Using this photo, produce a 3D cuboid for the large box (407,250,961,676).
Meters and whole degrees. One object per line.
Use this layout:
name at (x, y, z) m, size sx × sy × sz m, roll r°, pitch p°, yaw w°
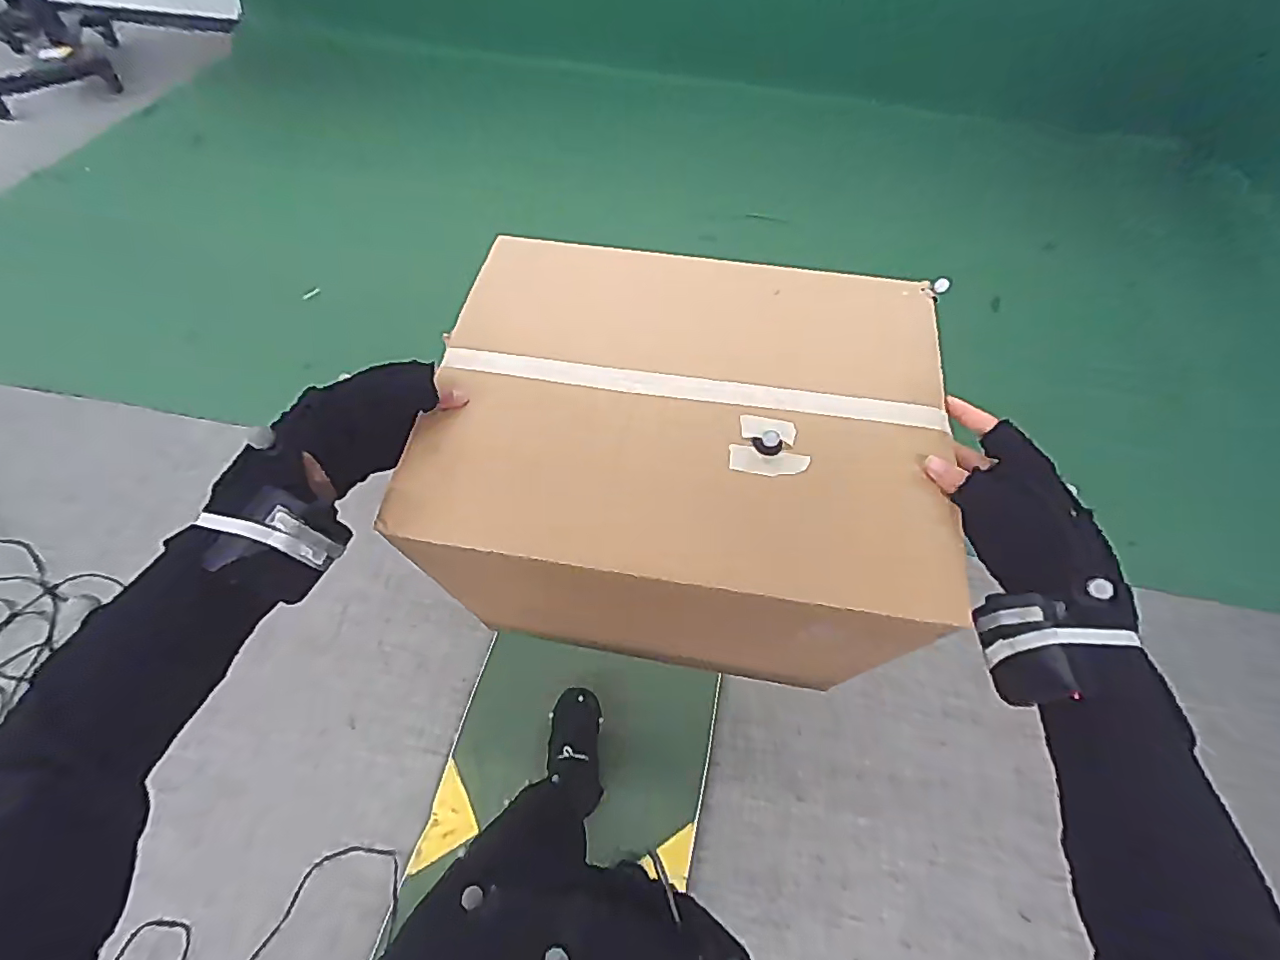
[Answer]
large box at (0.043, 0.001, 0.580) m, size 0.408 × 0.320 × 0.320 m, roll 8°, pitch 62°, yaw 4°
